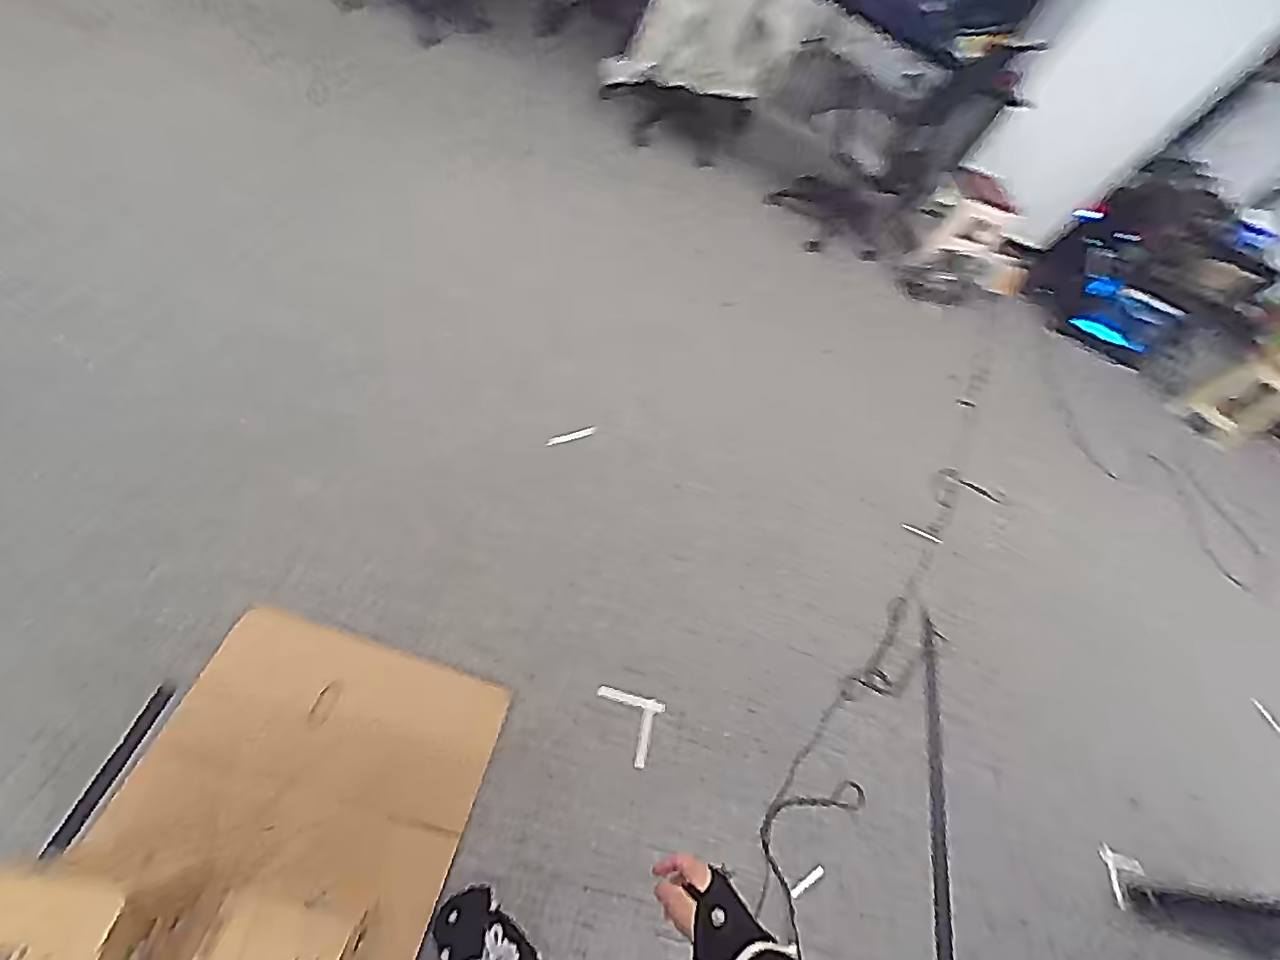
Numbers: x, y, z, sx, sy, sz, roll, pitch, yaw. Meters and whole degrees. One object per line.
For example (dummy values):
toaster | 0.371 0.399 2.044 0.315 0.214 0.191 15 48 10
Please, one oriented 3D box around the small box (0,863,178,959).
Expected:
small box | -0.769 0.612 0.703 0.179 0.176 0.168 17 57 -11

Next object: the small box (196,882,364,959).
small box | -0.514 0.689 0.759 0.179 0.176 0.168 22 55 -7
